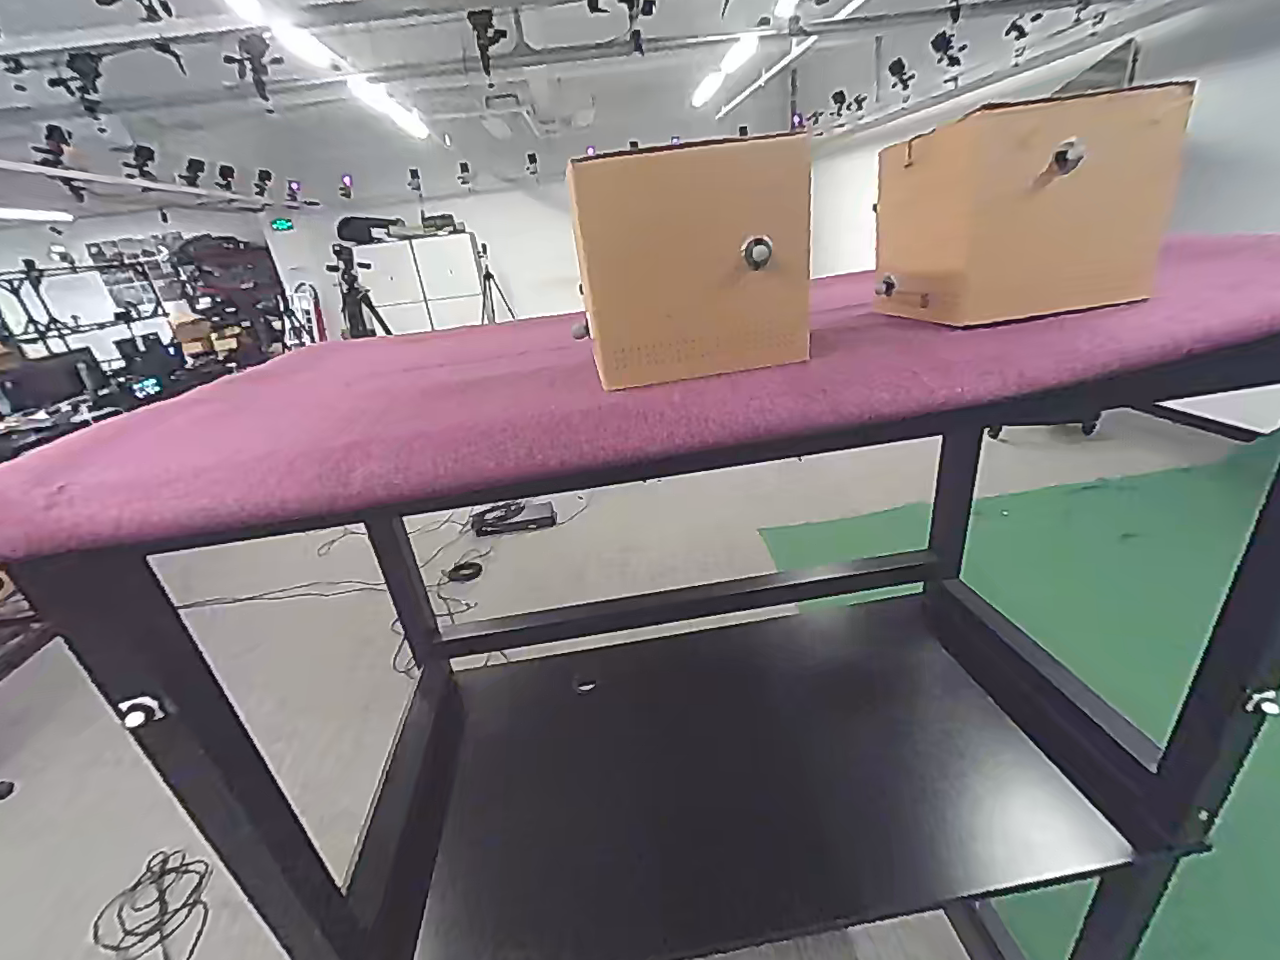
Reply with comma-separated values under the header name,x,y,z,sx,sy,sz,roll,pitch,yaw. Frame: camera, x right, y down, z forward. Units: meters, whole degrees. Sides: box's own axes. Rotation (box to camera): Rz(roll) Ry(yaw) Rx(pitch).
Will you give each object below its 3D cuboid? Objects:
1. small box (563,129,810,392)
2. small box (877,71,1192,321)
name,x,y,z,sx,sy,sz,roll,pitch,yaw
small box,0.033,-0.188,0.475,0.179,0.176,0.168,-11,25,-4
small box,0.347,-0.253,0.516,0.179,0.176,0.168,-8,23,-2
